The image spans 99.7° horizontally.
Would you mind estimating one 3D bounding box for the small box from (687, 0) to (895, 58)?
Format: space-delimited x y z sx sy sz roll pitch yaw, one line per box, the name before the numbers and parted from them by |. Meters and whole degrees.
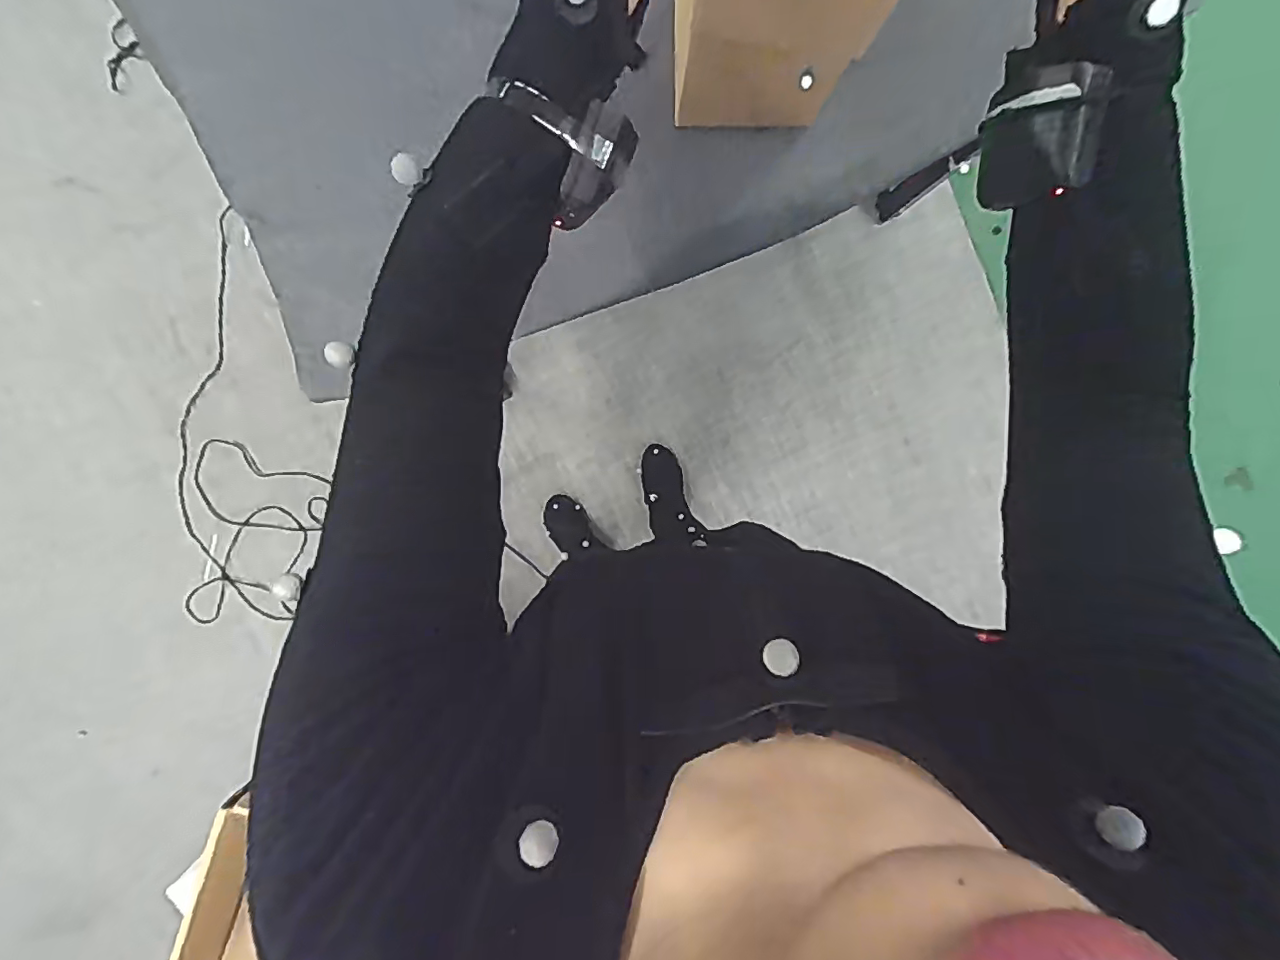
small box | 0.142 -0.487 0.437 0.179 0.176 0.168 6 95 -1
